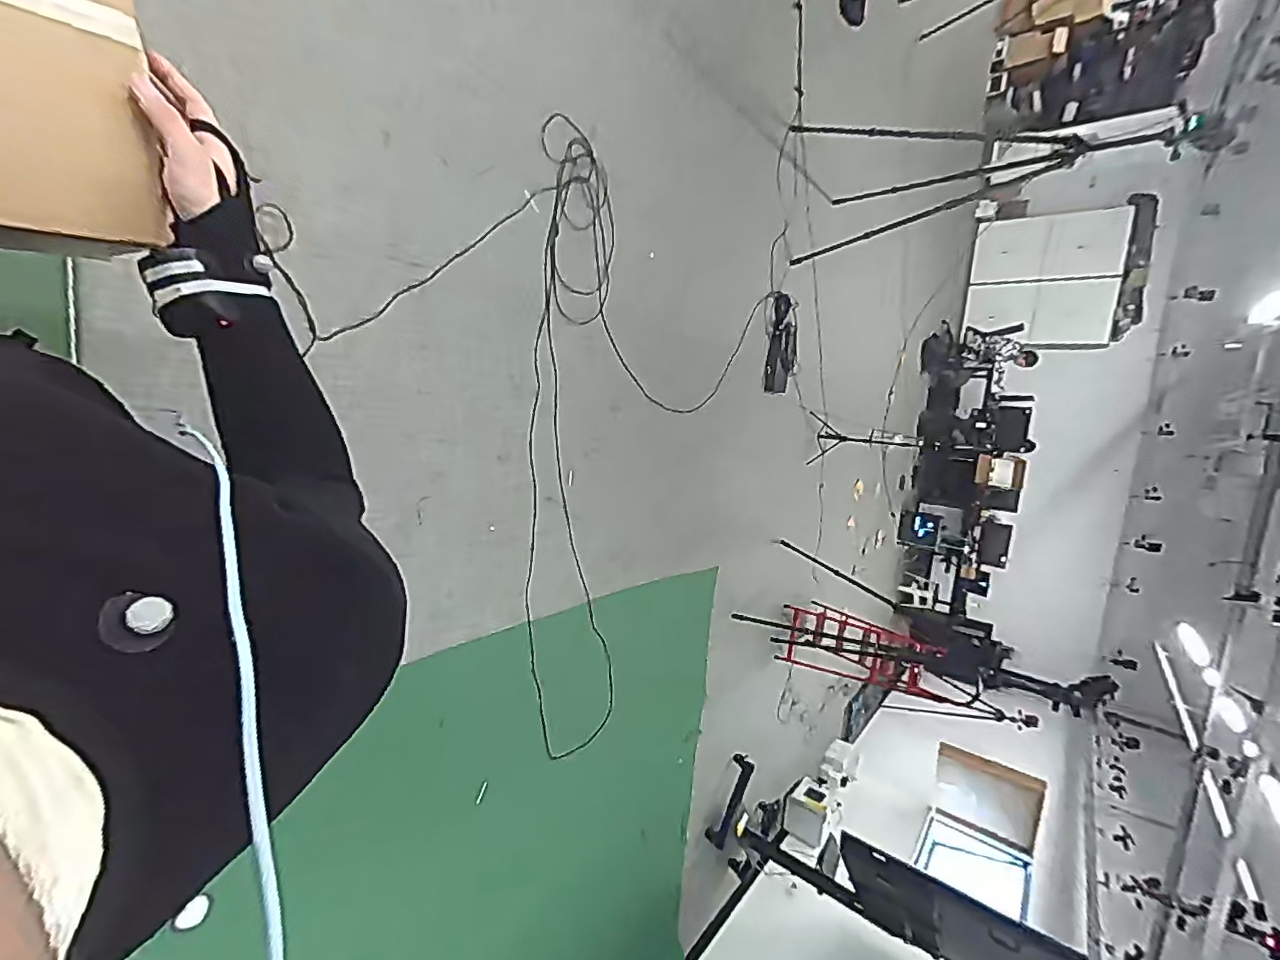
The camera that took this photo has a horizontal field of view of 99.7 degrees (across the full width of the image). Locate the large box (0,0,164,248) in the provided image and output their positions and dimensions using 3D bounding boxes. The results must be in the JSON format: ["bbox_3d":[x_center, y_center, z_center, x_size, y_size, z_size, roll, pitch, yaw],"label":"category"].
[{"bbox_3d":[-0.649,-0.361,0.375,0.408,0.320,0.320,-14,114,-50],"label":"large box"}]
